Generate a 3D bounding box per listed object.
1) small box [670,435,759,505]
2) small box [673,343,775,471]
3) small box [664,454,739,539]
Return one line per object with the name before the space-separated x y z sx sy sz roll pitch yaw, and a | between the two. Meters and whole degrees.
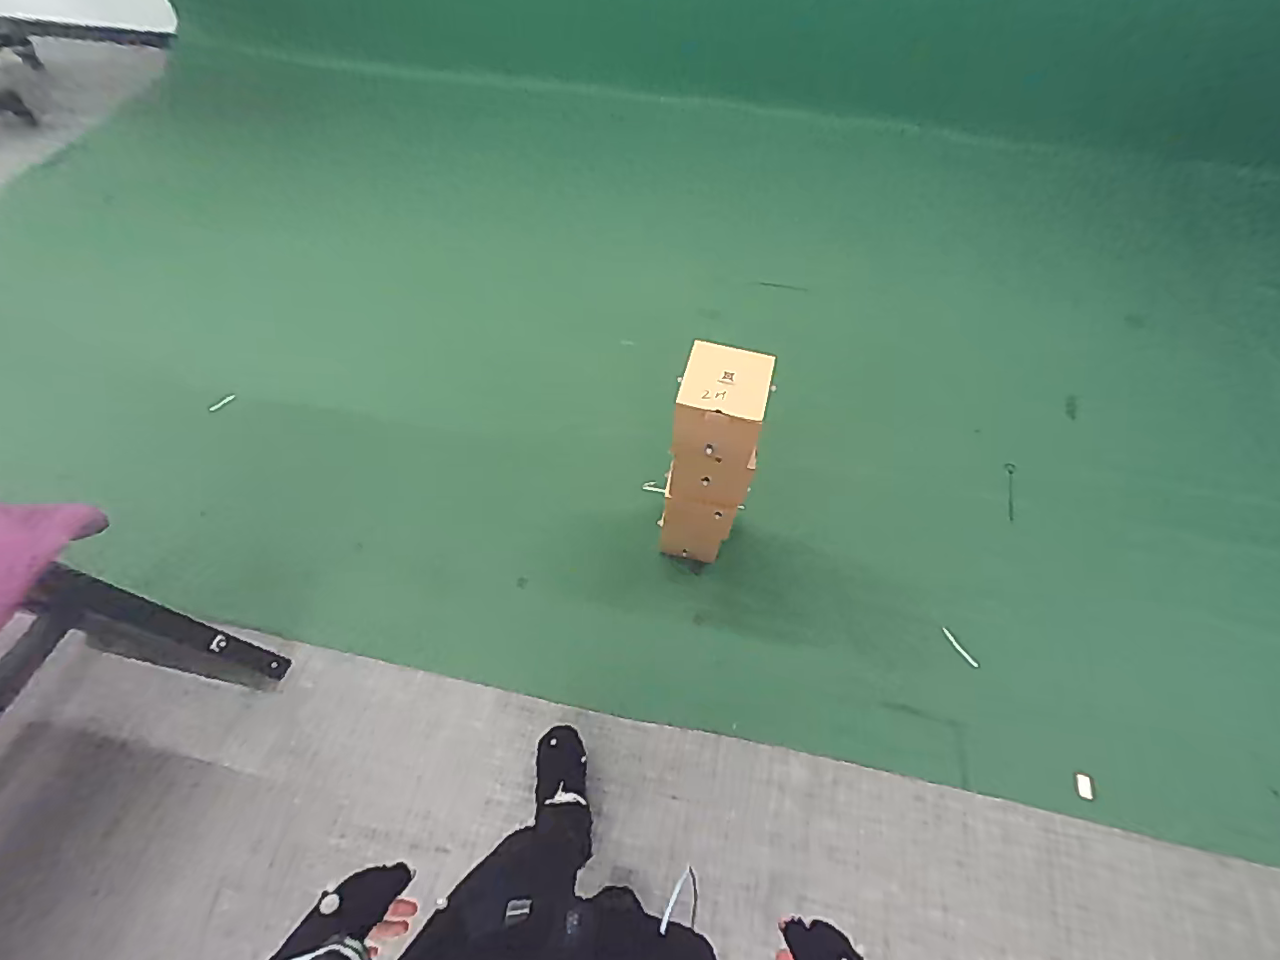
small box | 0.171 -0.057 1.249 0.179 0.176 0.168 9 59 5
small box | 0.166 -0.147 1.111 0.168 0.176 0.179 14 59 8
small box | 0.161 0.035 1.385 0.179 0.176 0.168 11 59 5
